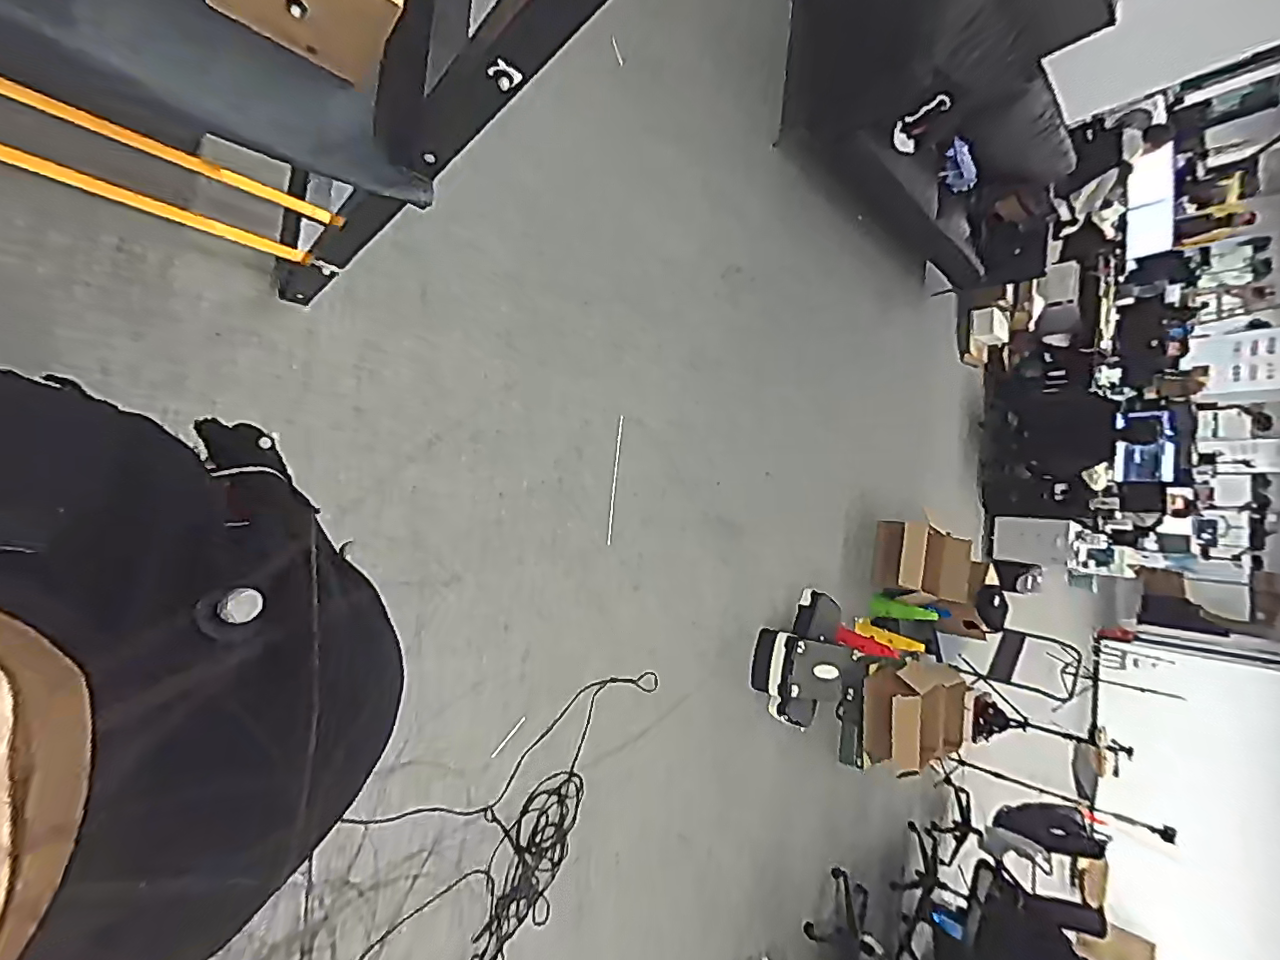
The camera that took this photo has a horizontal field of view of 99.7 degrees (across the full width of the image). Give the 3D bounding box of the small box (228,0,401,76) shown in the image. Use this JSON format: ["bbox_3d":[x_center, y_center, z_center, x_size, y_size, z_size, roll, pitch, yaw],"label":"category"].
[{"bbox_3d":[-0.373,-0.623,0.616,0.168,0.176,0.179,8,84,-43],"label":"small box"}]
